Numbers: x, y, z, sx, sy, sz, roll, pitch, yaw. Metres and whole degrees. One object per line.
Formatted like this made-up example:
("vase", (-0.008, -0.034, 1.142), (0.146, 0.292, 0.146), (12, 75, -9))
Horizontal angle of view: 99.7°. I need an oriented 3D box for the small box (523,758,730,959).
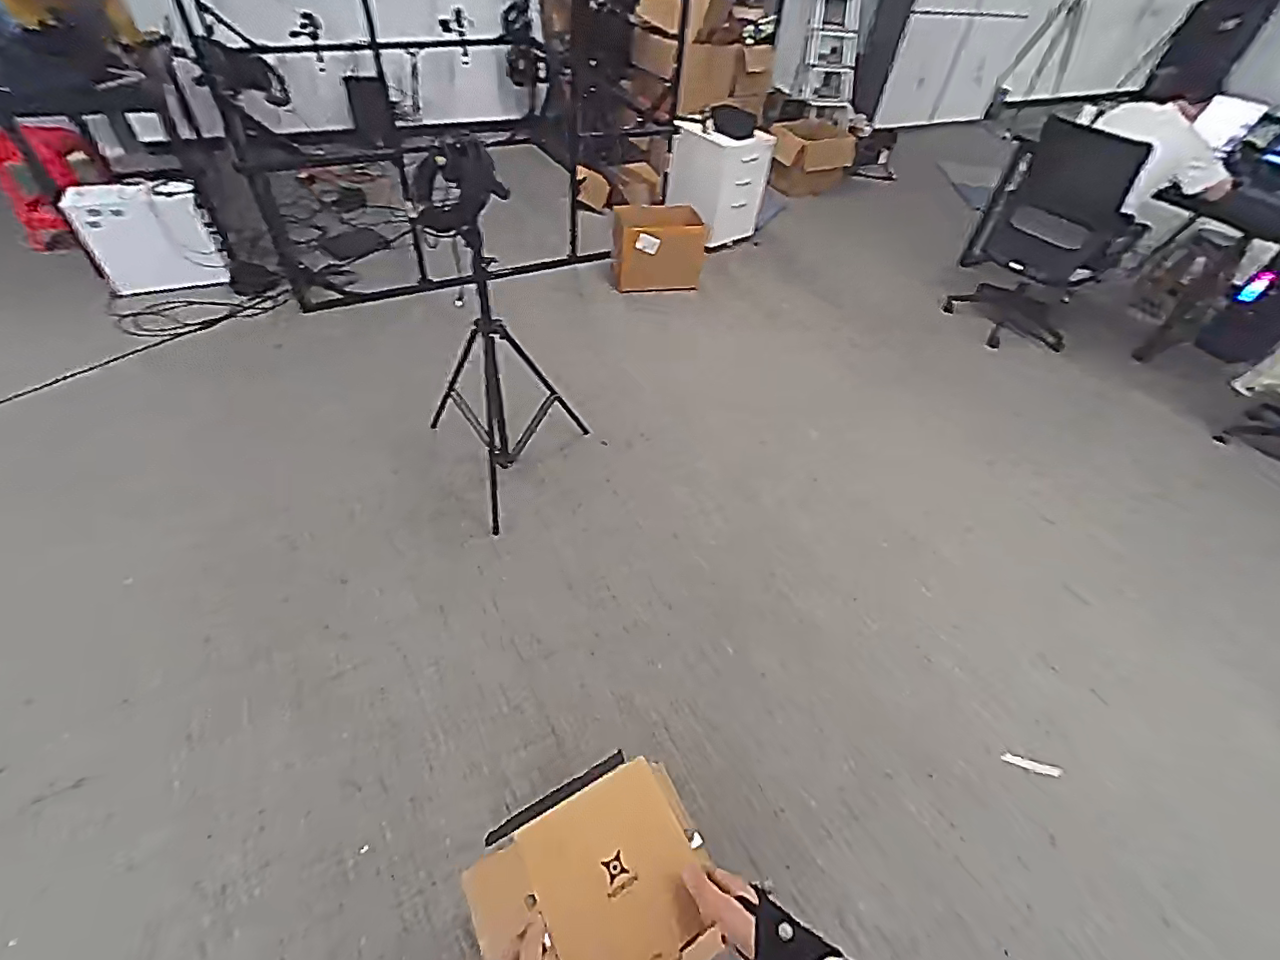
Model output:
("small box", (-0.026, 0.468, 0.628), (0.168, 0.176, 0.179), (-21, 55, -24))
